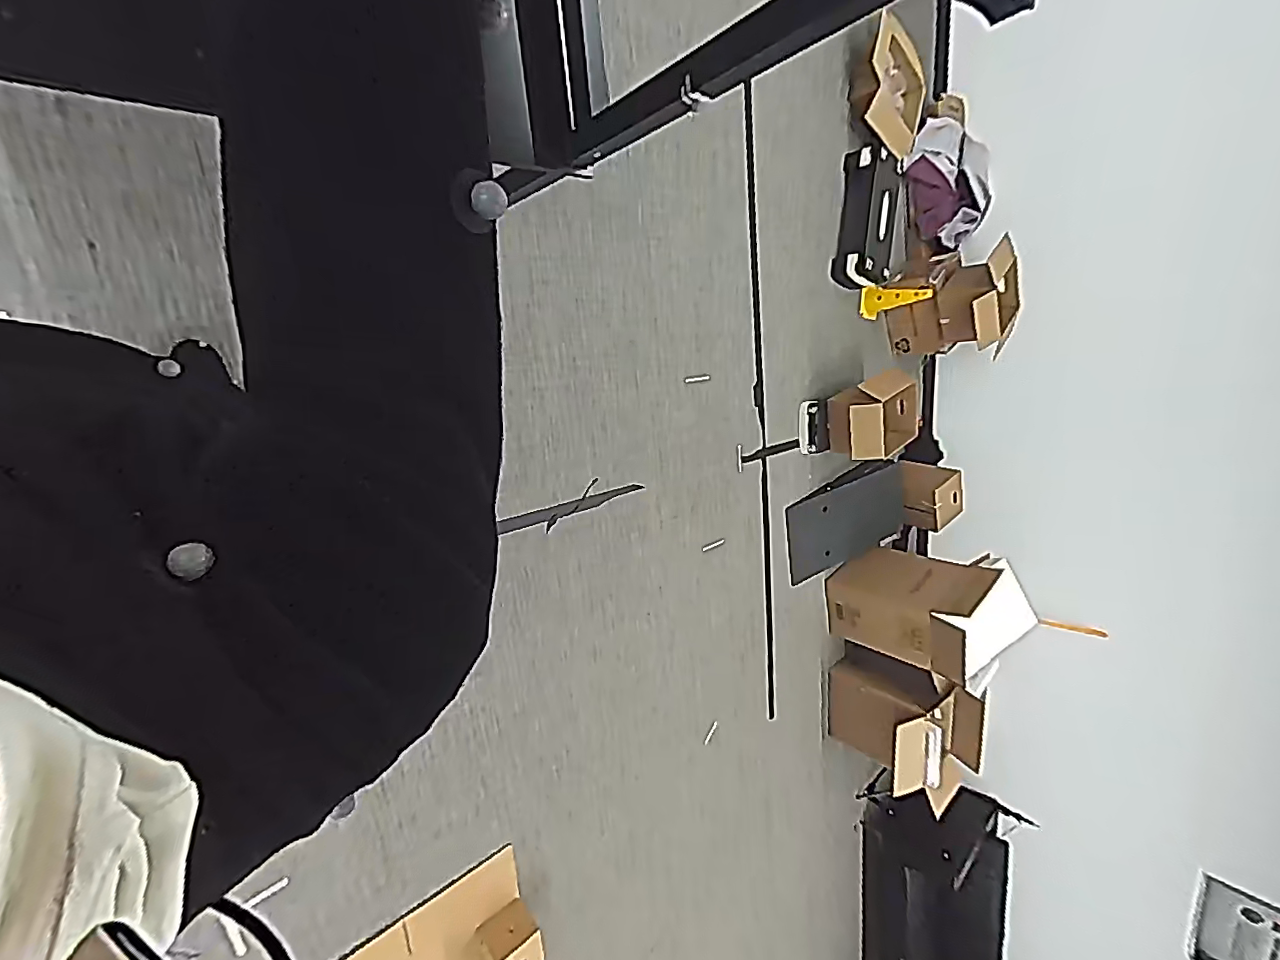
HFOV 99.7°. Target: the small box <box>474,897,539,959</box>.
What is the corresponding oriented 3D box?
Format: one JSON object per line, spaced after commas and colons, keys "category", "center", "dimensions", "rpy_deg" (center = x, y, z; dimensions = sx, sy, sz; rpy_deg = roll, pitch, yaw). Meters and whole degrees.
{"category": "small box", "center": [-0.496, 1.709, 1.993], "dimensions": [0.179, 0.176, 0.168], "rpy_deg": [-16, 108, -40]}
